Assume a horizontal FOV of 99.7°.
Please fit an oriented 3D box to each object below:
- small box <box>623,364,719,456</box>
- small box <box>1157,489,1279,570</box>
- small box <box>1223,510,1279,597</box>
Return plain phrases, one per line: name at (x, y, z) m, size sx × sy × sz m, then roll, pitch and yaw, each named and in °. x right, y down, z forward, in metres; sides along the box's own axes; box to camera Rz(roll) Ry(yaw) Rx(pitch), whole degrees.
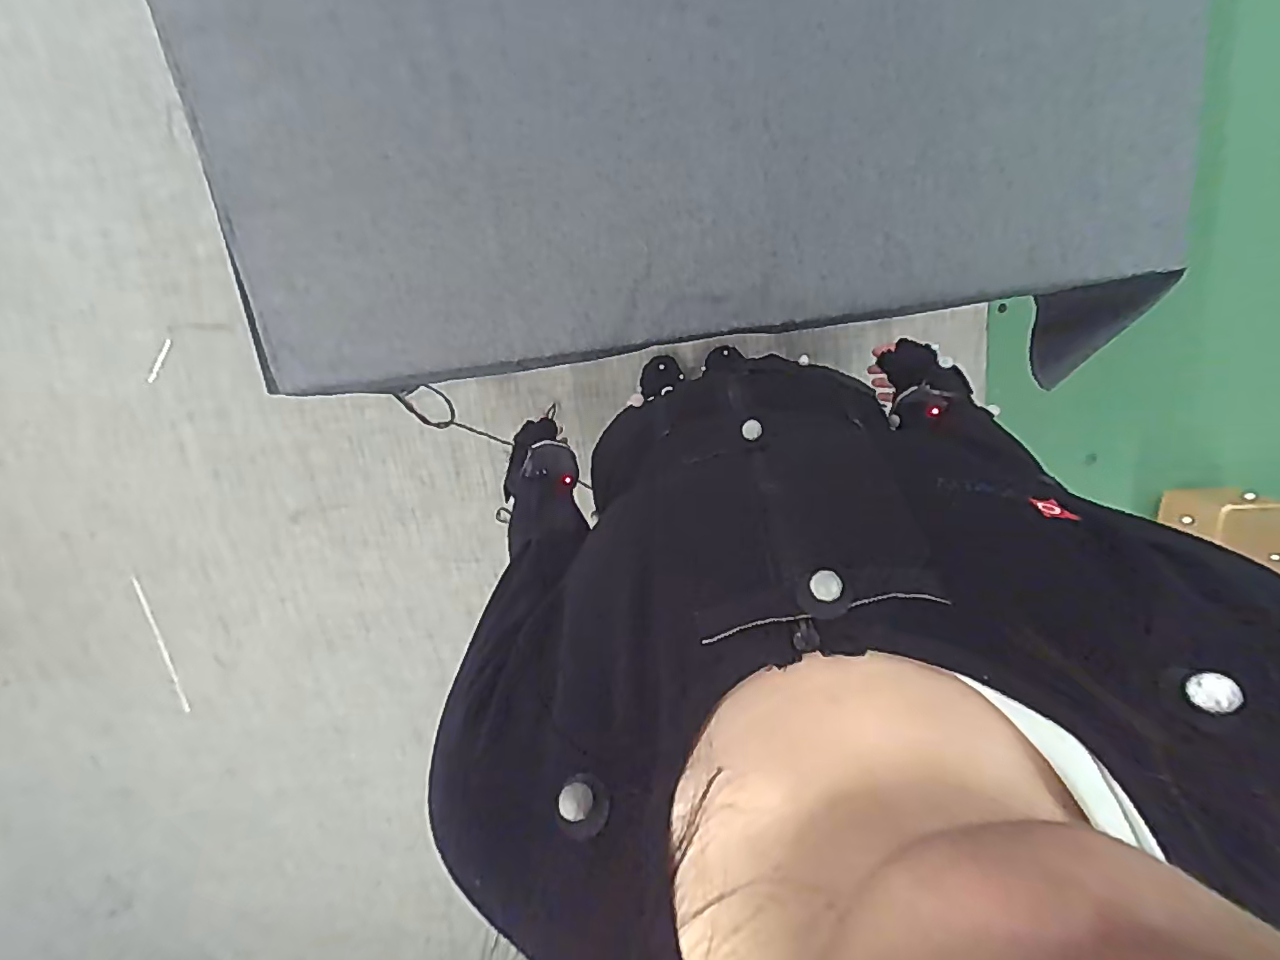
small box at (0.075, -0.184, 1.391) m, size 0.179 × 0.176 × 0.168 m, roll 34°, pitch 115°, yaw 12°
small box at (1.482, 0.122, 1.373) m, size 0.179 × 0.176 × 0.168 m, roll -2°, pitch 103°, yaw 3°
small box at (1.485, 0.168, 1.214) m, size 0.168 × 0.176 × 0.179 m, roll -3°, pitch 103°, yaw 3°
